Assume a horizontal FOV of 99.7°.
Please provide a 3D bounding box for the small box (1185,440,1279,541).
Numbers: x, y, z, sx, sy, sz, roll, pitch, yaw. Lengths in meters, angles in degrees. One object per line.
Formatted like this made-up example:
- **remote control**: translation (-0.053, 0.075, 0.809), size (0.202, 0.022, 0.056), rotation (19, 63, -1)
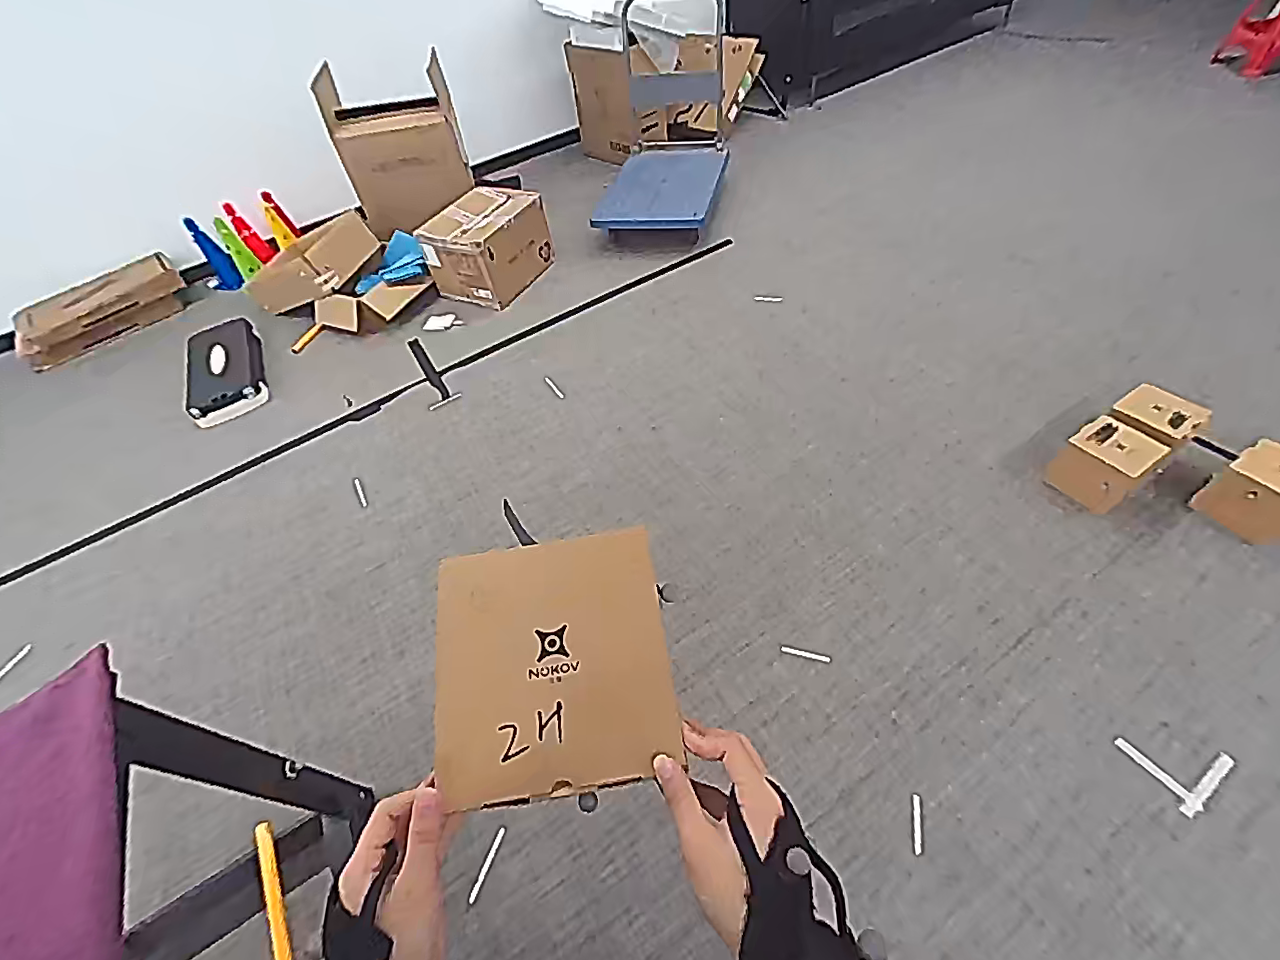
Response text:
- **small box**: translation (1.605, 0.034, 1.405), size (0.168, 0.176, 0.179), rotation (-29, 51, -14)

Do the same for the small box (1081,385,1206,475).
- **small box**: translation (1.454, -0.138, 1.574), size (0.168, 0.176, 0.179), rotation (-30, 51, -15)

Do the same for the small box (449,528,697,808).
- **small box**: translation (-0.051, 0.165, 0.462), size (0.168, 0.176, 0.179), rotation (-12, 60, -1)
